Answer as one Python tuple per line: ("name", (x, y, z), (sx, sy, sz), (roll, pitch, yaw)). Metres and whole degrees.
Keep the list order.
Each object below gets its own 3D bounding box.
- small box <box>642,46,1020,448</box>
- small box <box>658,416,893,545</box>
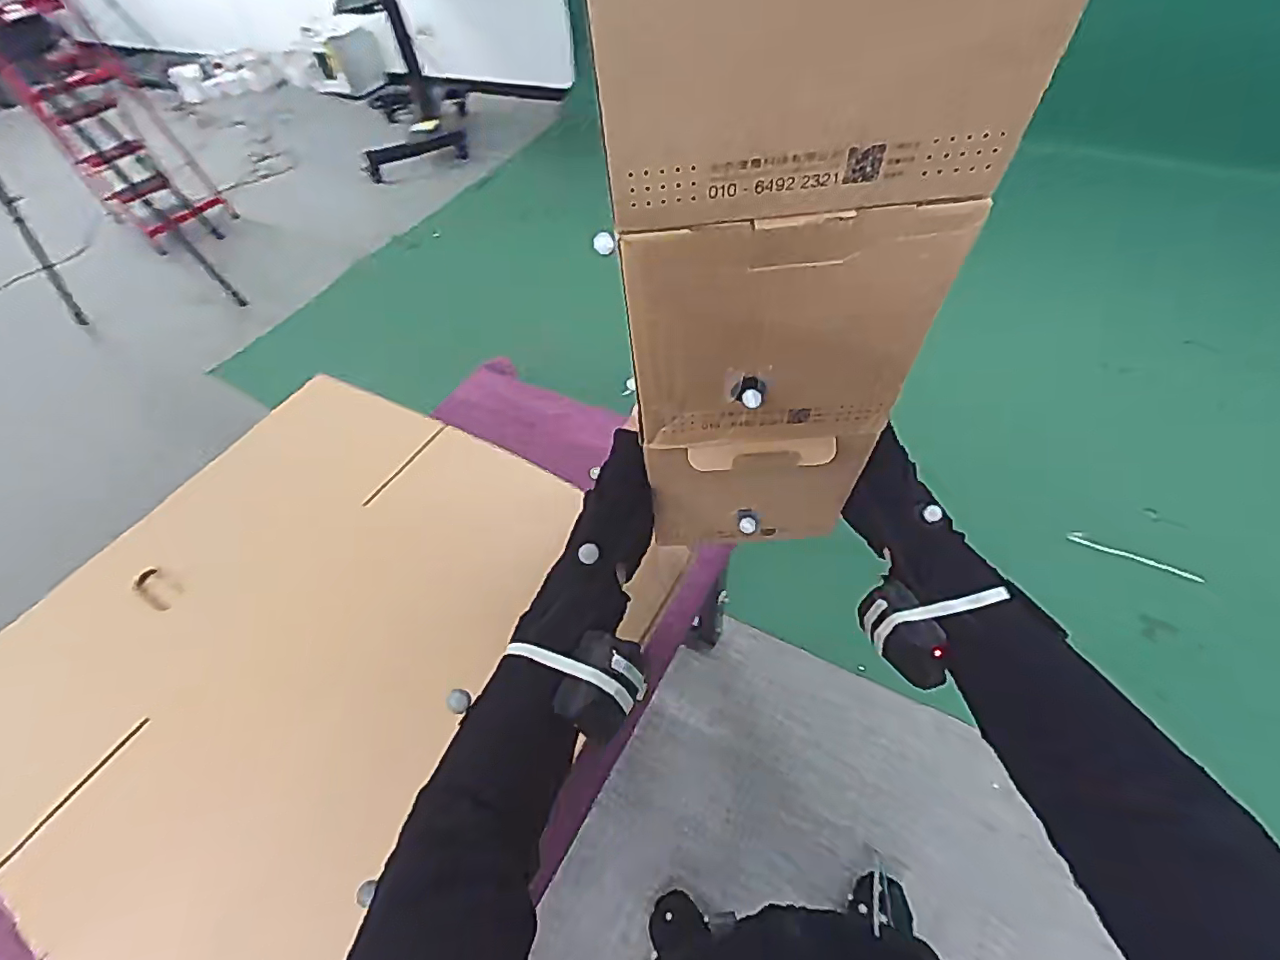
("small box", (0.087, -0.141, 0.350), (0.168, 0.176, 0.179), (-4, 58, 2))
("small box", (0.100, -0.055, 0.488), (0.168, 0.176, 0.179), (-2, 58, 4))
